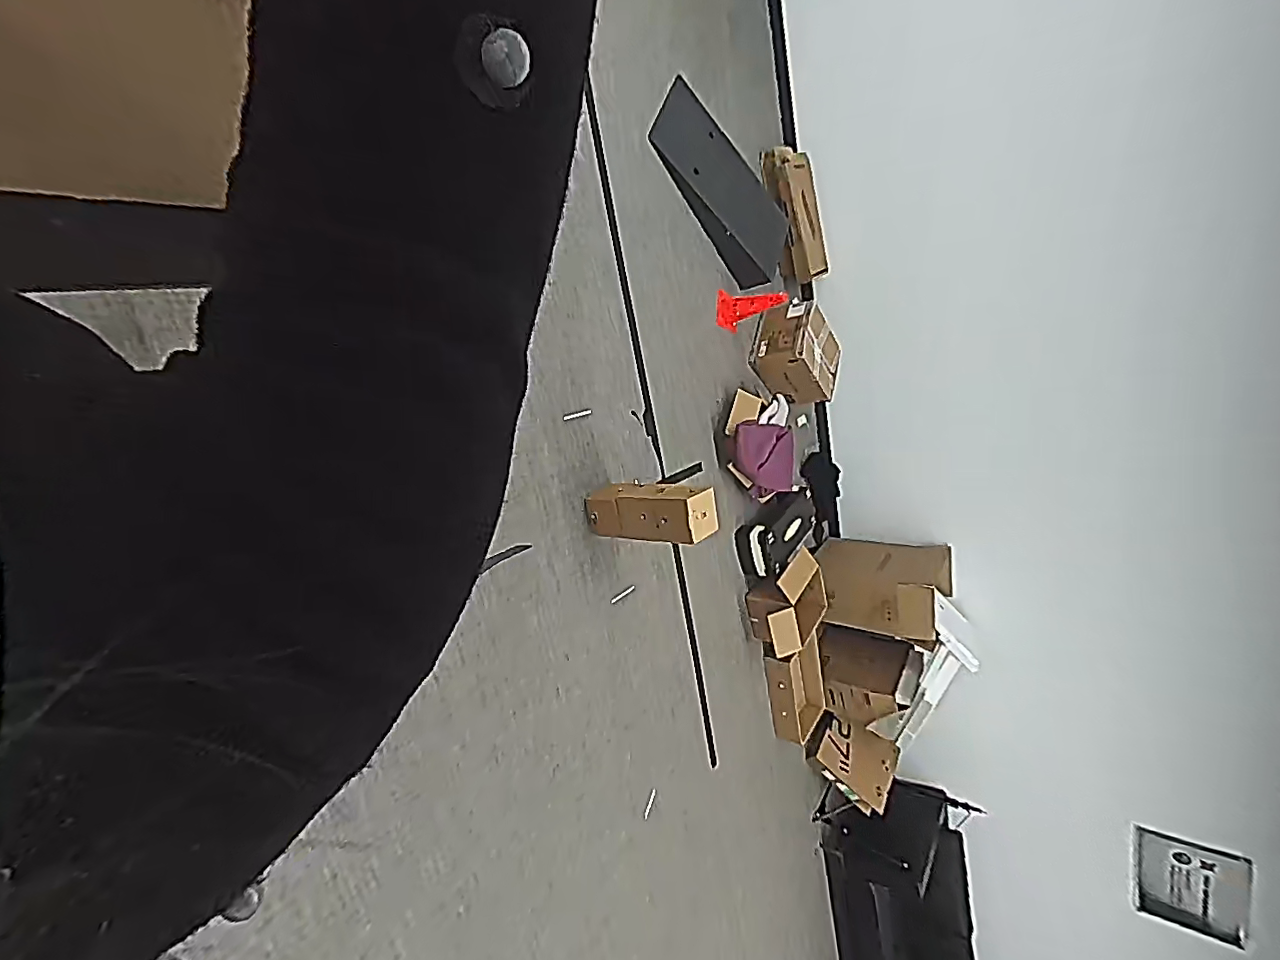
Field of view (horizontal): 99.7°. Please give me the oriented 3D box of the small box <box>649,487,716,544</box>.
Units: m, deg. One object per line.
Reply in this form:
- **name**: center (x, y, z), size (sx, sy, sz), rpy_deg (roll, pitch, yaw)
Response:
- **small box**: center (0.154, 0.123, 1.975), size (0.179, 0.176, 0.168), rpy_deg (-21, 106, -48)

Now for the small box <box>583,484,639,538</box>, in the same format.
- **small box**: center (-0.102, 0.120, 2.183), size (0.179, 0.176, 0.168), rpy_deg (-31, 113, -44)

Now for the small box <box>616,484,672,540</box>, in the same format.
- **small box**: center (0.025, 0.120, 2.078), size (0.168, 0.176, 0.179), rpy_deg (-26, 110, -47)
